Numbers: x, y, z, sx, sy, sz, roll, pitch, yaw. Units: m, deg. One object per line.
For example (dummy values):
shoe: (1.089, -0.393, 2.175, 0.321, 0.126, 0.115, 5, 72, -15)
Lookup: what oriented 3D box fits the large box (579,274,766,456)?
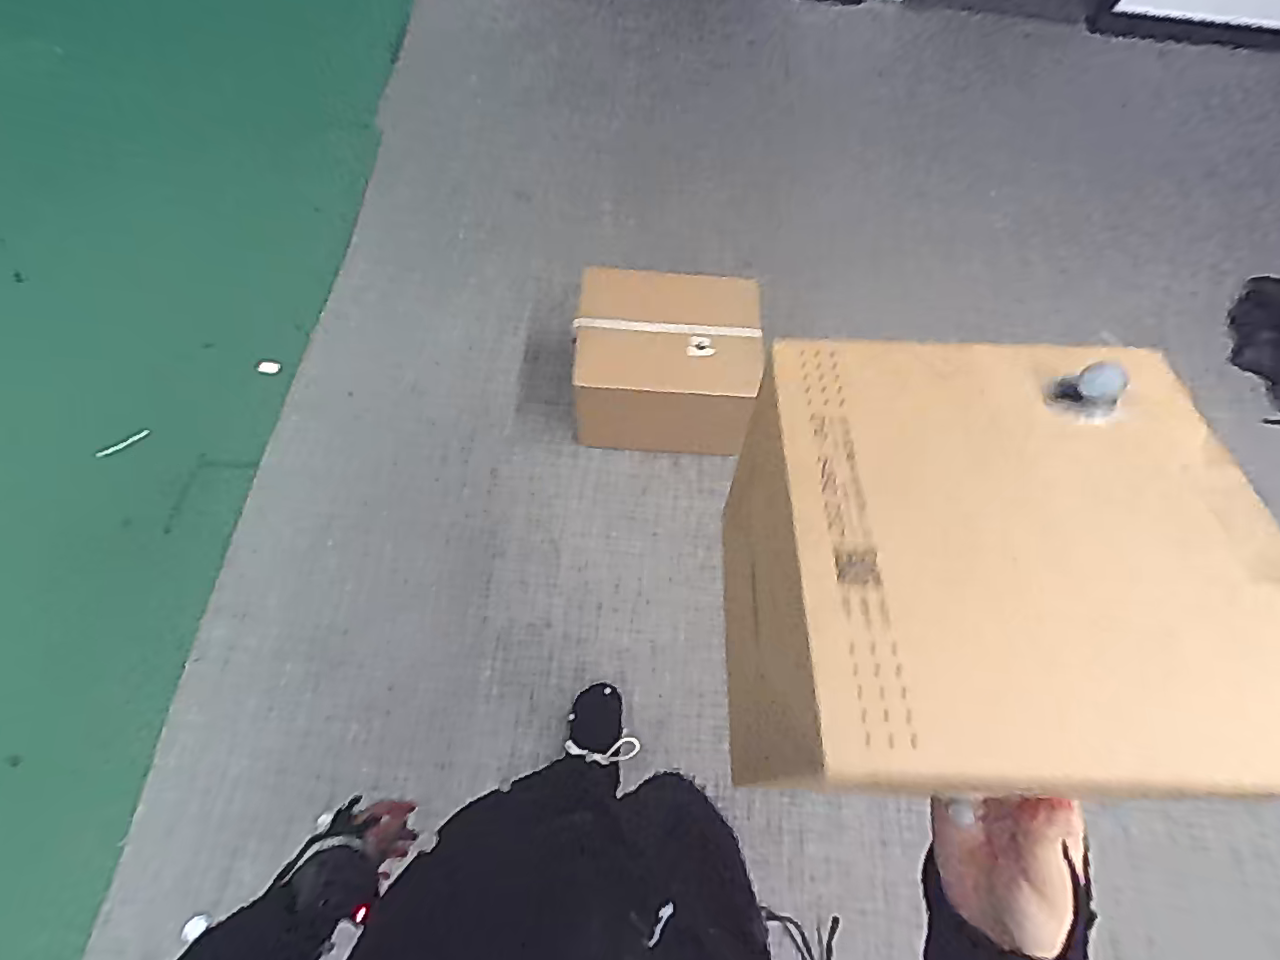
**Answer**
large box: (0.062, -0.264, 1.321, 0.408, 0.320, 0.320, 4, 69, -3)
